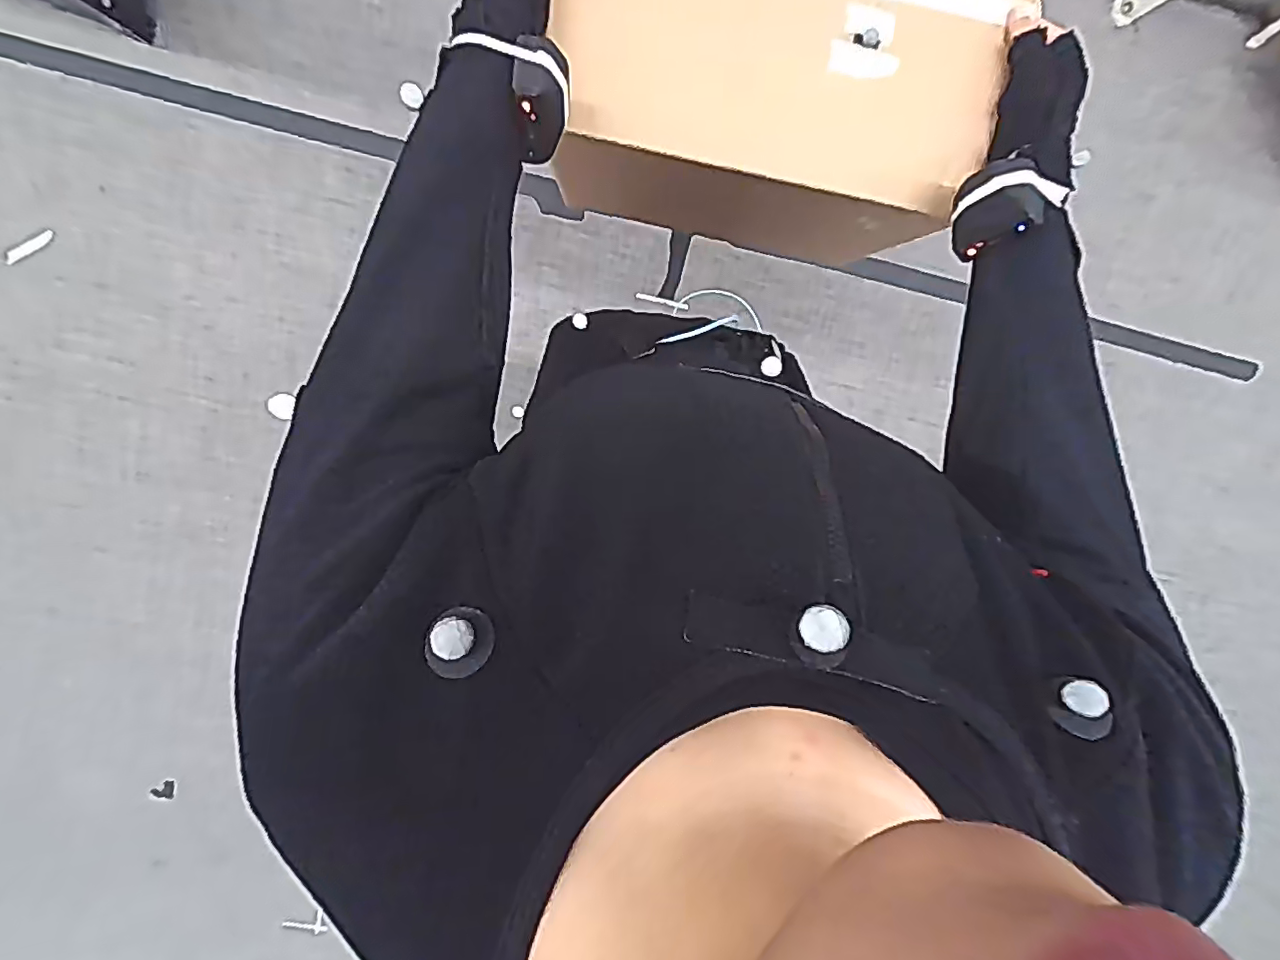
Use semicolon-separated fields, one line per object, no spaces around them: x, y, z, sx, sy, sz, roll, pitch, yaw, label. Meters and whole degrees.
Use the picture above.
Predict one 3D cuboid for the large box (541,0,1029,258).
0.127;-0.463;0.595;0.408;0.320;0.320;11;105;-5;large box
